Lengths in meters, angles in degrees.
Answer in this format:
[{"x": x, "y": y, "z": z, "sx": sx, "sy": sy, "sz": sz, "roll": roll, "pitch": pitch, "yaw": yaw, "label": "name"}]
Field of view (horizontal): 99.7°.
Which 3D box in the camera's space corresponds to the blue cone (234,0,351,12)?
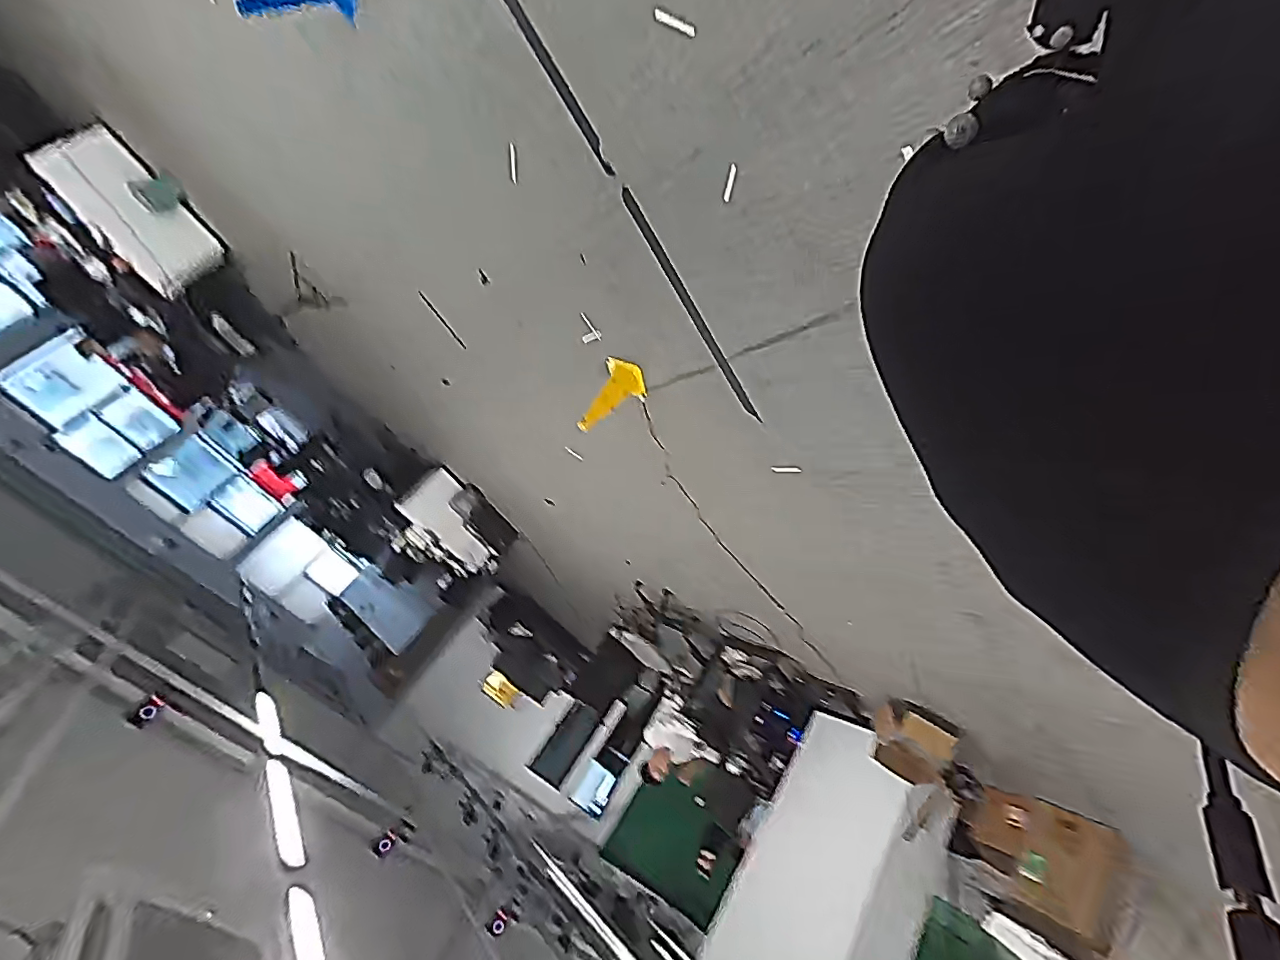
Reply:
[{"x": -1.139, "y": -1.607, "z": 1.749, "sx": 0.193, "sy": 0.380, "sz": 0.192, "roll": 50, "pitch": 152, "yaw": -22, "label": "blue cone"}]
